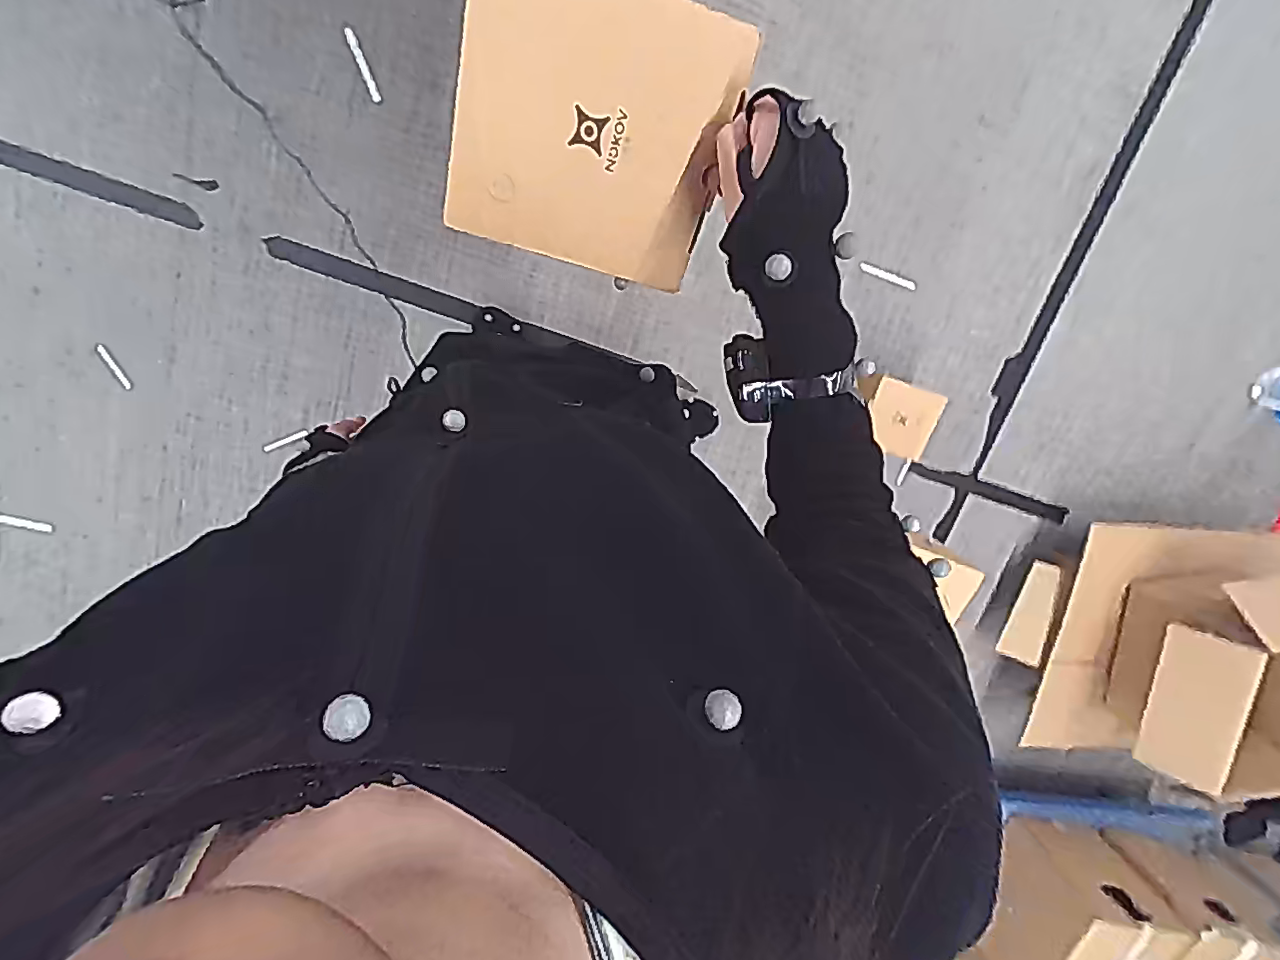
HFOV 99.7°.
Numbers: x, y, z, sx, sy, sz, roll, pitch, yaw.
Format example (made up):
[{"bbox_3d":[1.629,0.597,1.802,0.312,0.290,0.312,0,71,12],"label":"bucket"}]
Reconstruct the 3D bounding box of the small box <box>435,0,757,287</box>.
[{"bbox_3d":[-0.044,-0.269,0.411,0.179,0.176,0.168,9,122,-17],"label":"small box"}]

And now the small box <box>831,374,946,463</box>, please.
[{"bbox_3d":[0.611,-0.162,1.357,0.179,0.176,0.168,15,107,-10],"label":"small box"}]
